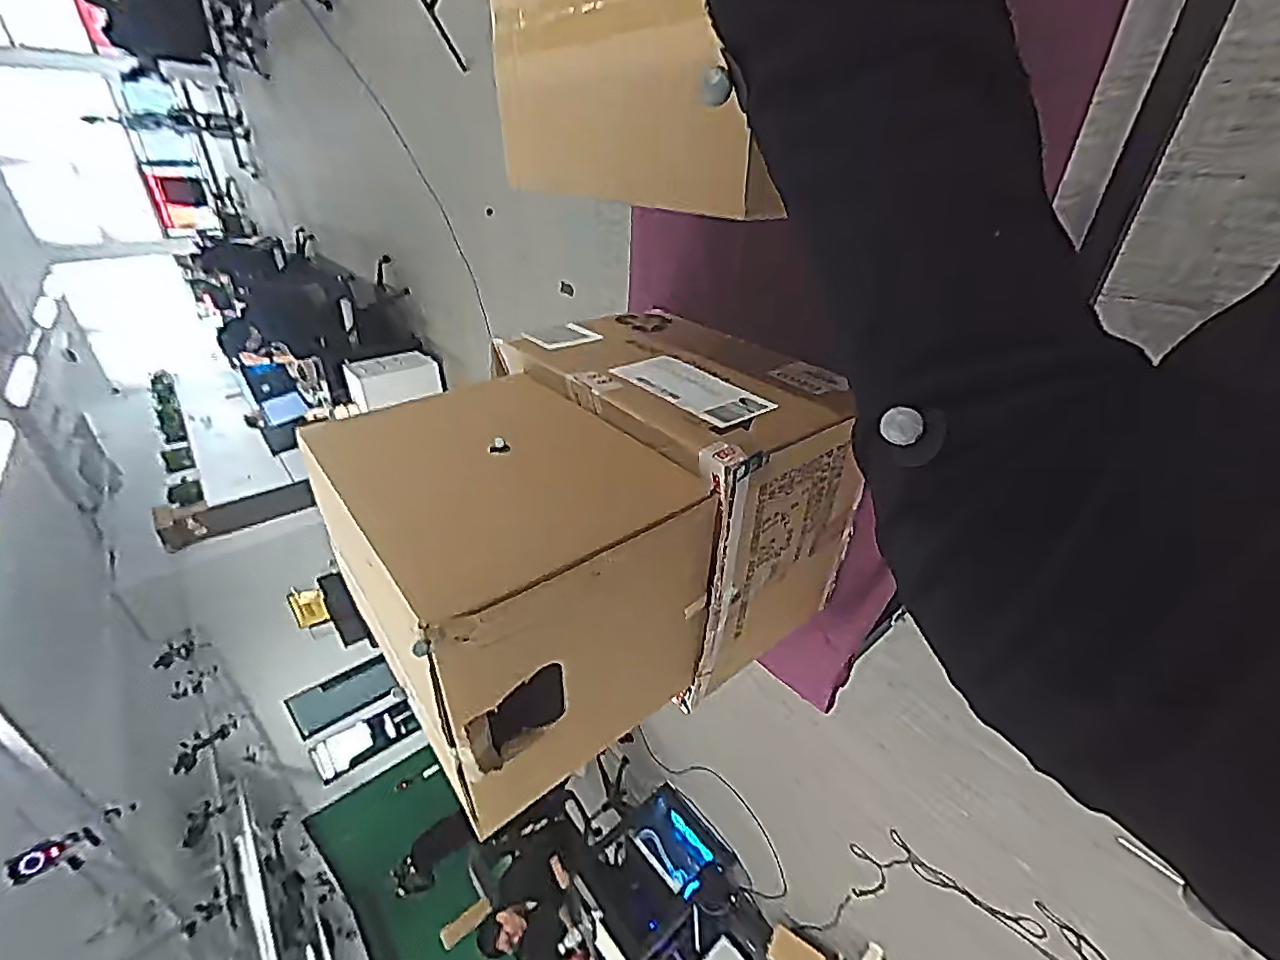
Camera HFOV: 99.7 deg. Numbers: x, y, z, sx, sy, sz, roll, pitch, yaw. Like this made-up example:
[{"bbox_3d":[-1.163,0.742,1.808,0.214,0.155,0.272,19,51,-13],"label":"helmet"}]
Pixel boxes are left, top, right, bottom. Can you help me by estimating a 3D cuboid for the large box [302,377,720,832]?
[{"bbox_3d":[-0.160,0.097,0.670,0.408,0.320,0.320,32,134,40],"label":"large box"}]
